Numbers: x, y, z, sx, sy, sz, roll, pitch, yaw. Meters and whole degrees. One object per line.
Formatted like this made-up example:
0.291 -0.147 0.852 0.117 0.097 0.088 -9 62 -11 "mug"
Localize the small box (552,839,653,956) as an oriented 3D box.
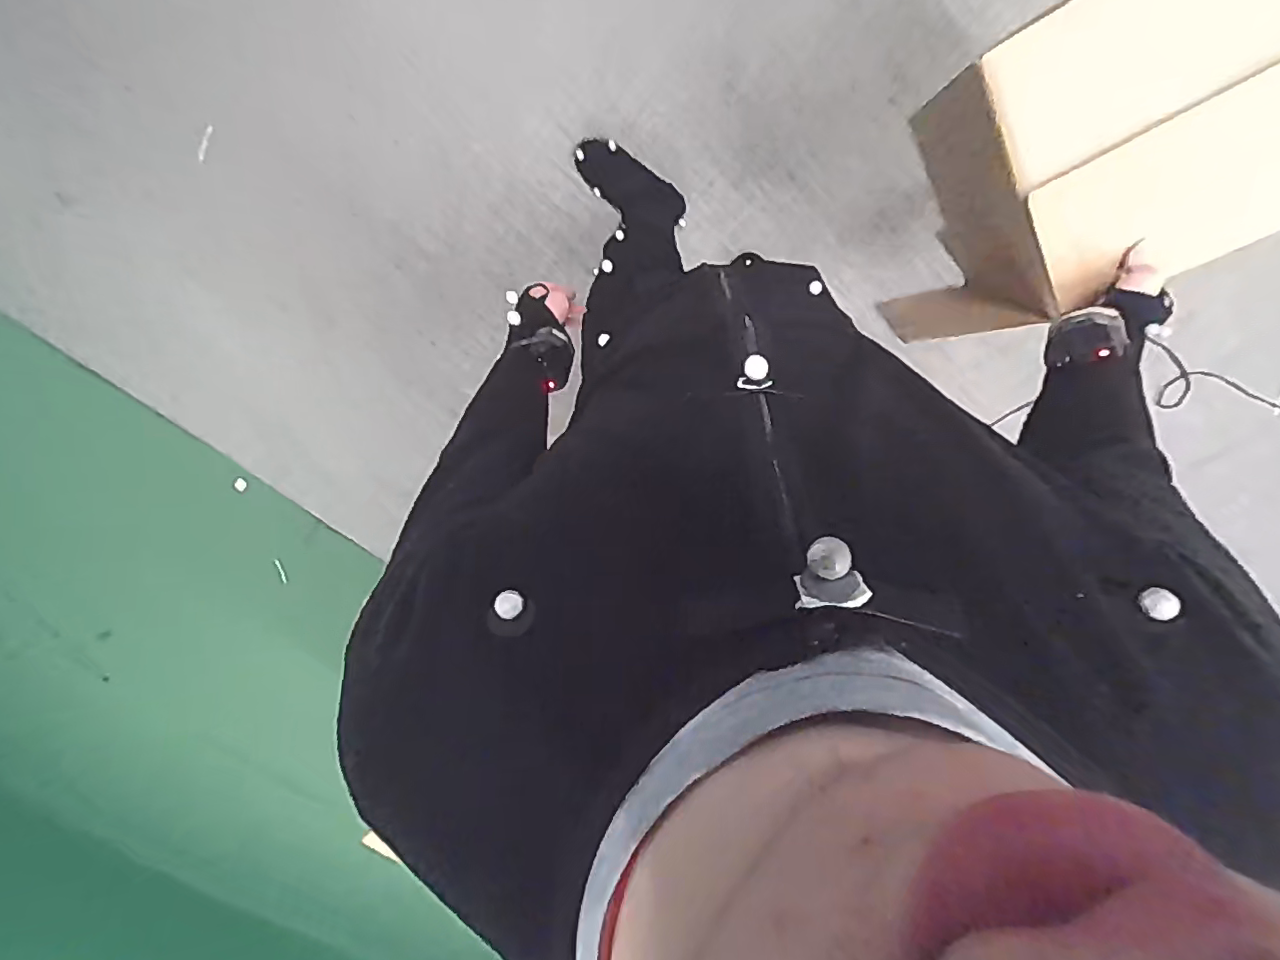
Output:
-0.087 1.025 1.338 0.179 0.176 0.168 39 117 -16 "small box"
